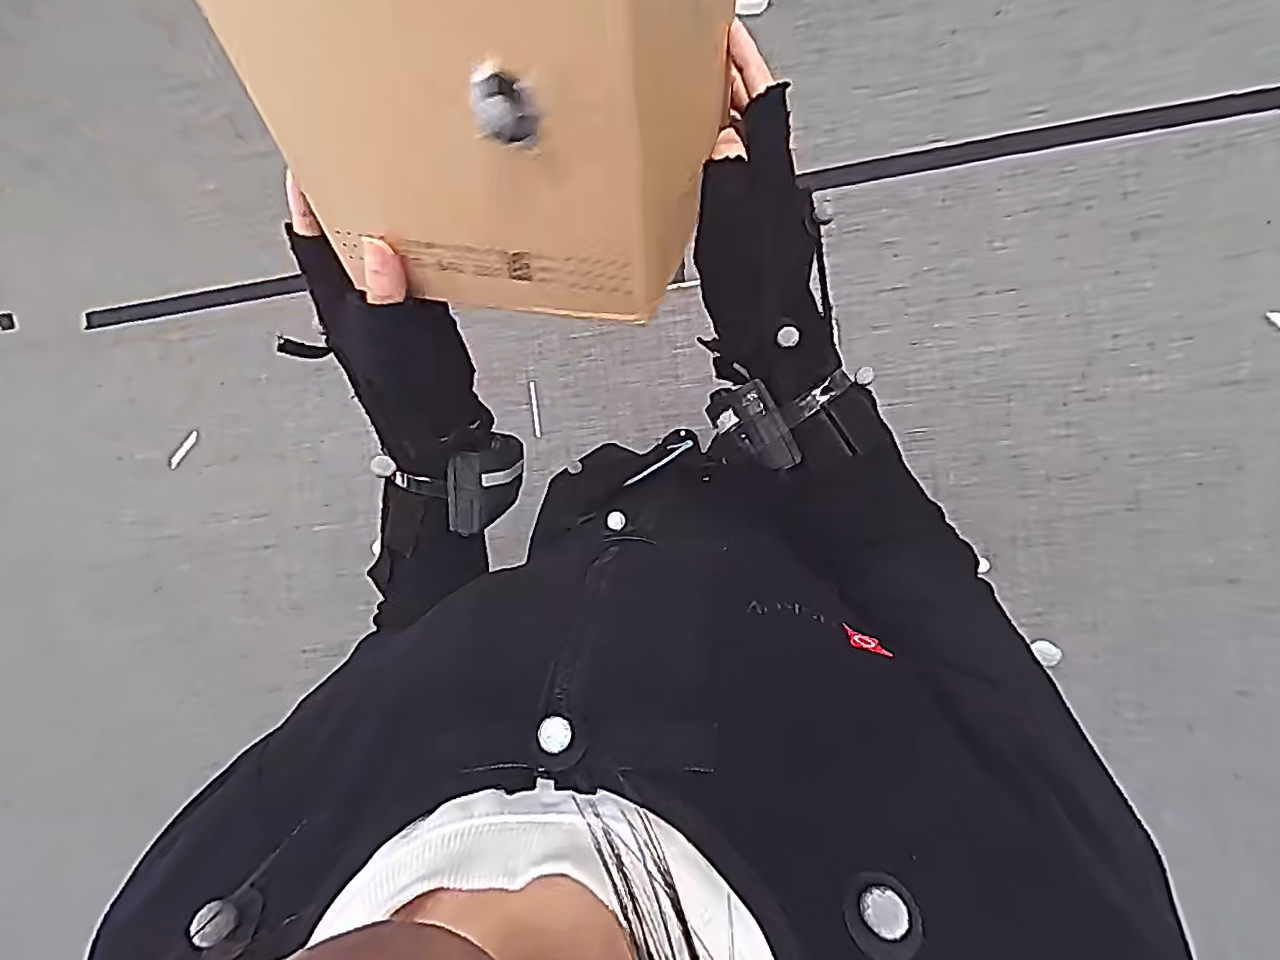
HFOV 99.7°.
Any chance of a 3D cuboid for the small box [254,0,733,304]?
[{"bbox_3d":[-0.048,-0.210,0.269,0.168,0.176,0.179,11,53,12],"label":"small box"}]
